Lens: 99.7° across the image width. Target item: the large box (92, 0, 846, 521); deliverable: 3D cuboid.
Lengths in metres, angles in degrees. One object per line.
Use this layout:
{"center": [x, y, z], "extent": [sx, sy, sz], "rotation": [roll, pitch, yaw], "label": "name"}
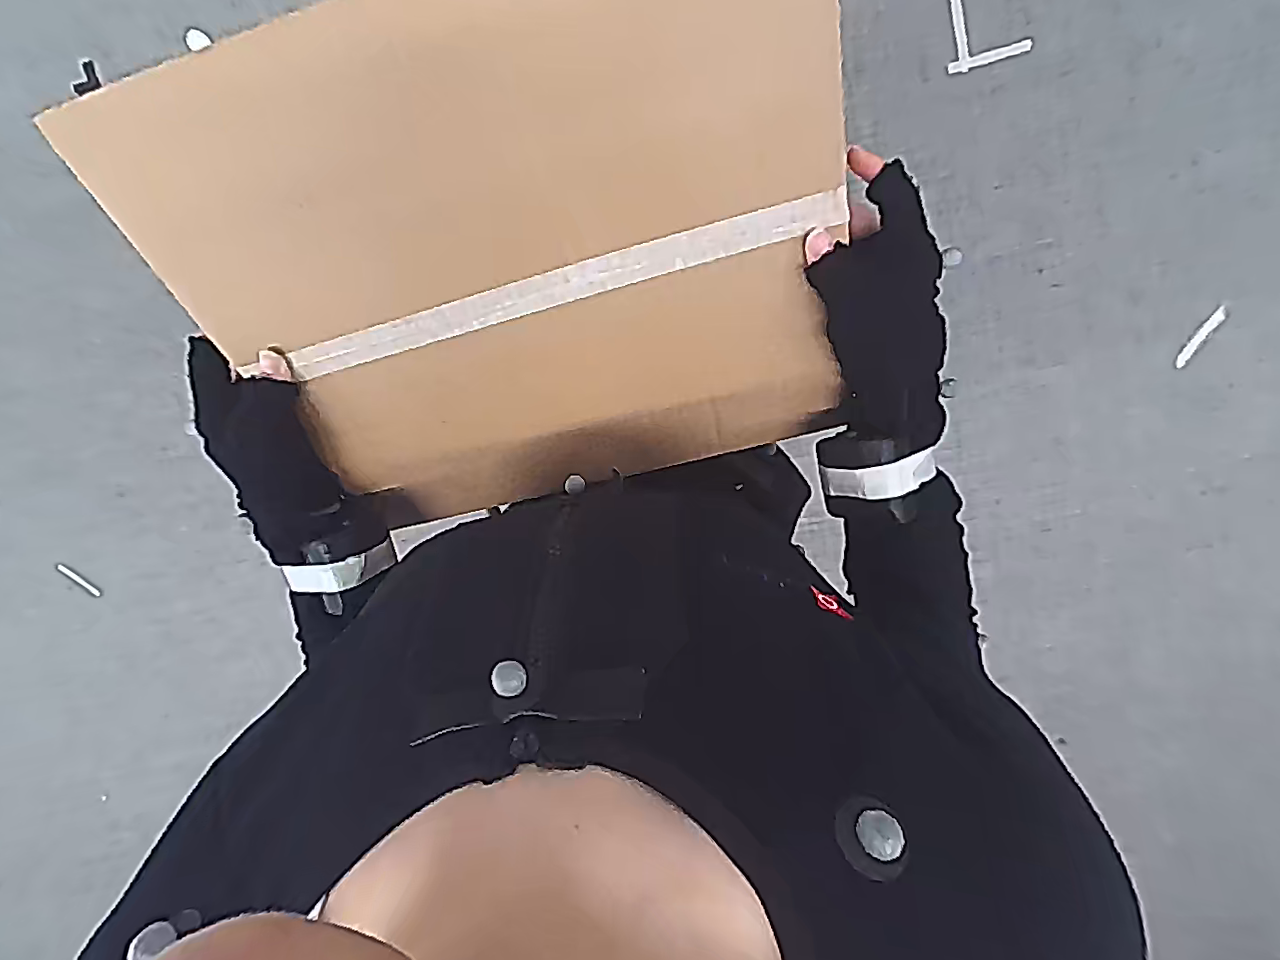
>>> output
{"center": [-0.078, -0.214, 0.471], "extent": [0.408, 0.320, 0.320], "rotation": [-13, 129, 9], "label": "large box"}
